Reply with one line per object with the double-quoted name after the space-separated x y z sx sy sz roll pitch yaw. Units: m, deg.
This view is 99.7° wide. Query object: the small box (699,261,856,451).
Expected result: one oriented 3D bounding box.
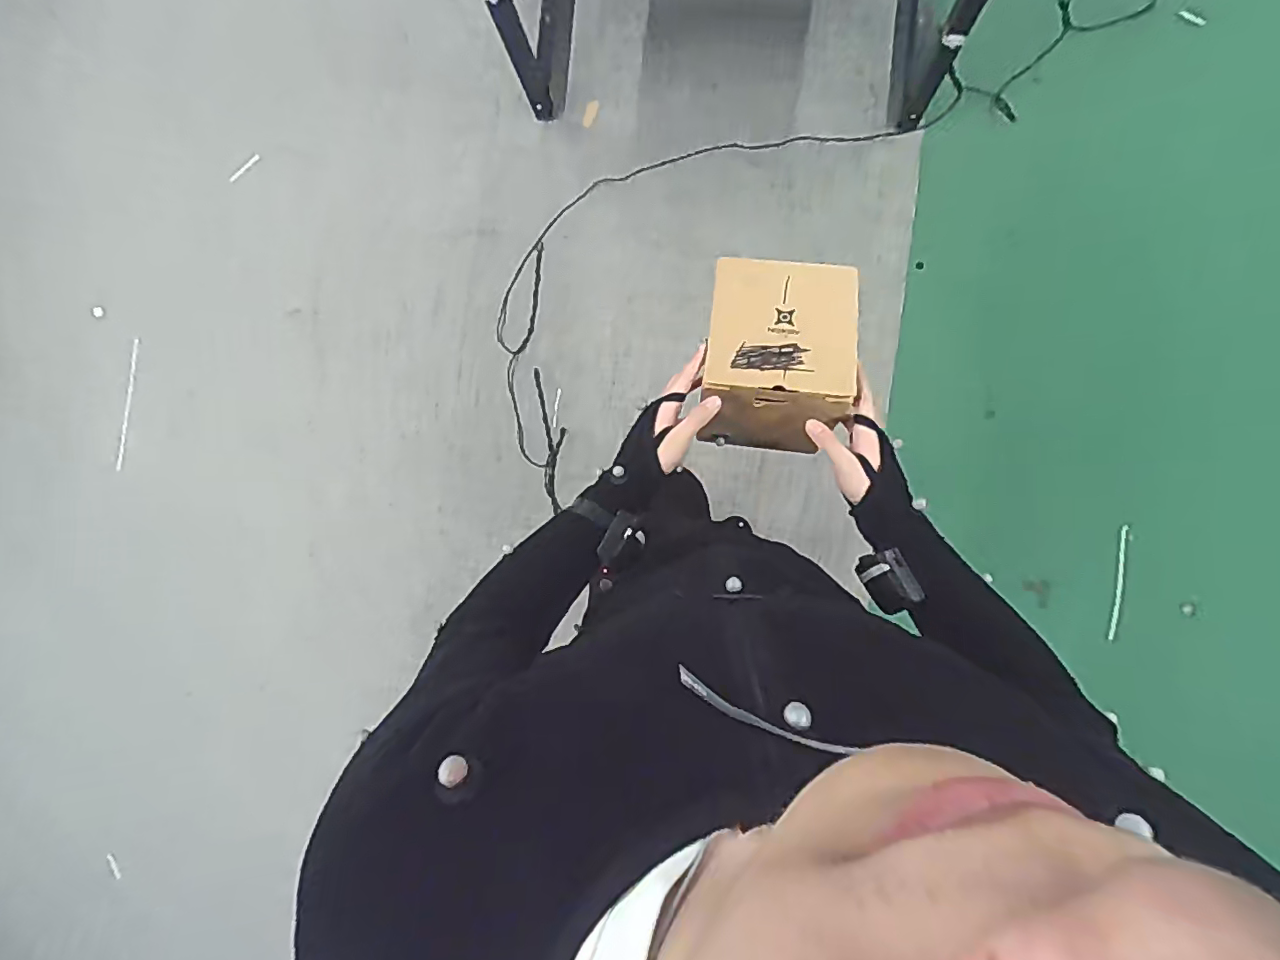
0.166 -0.149 0.692 0.168 0.176 0.179 7 72 6 "small box"
